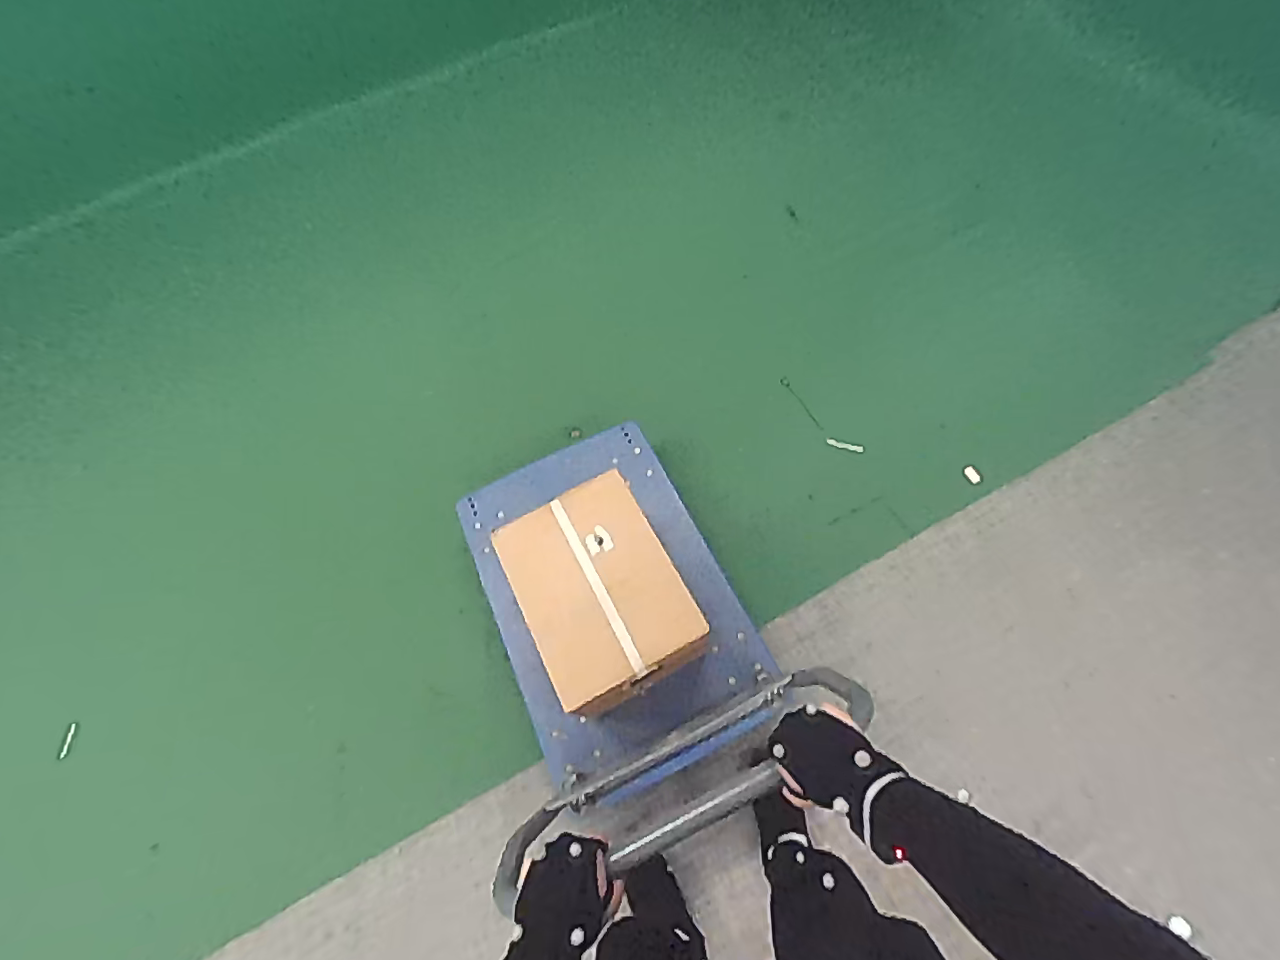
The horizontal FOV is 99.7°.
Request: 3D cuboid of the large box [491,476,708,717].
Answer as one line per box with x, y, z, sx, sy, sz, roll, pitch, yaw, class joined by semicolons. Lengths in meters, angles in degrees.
-0.077;0.275;1.234;0.320;0.320;0.408;-28;66;-7;large box
